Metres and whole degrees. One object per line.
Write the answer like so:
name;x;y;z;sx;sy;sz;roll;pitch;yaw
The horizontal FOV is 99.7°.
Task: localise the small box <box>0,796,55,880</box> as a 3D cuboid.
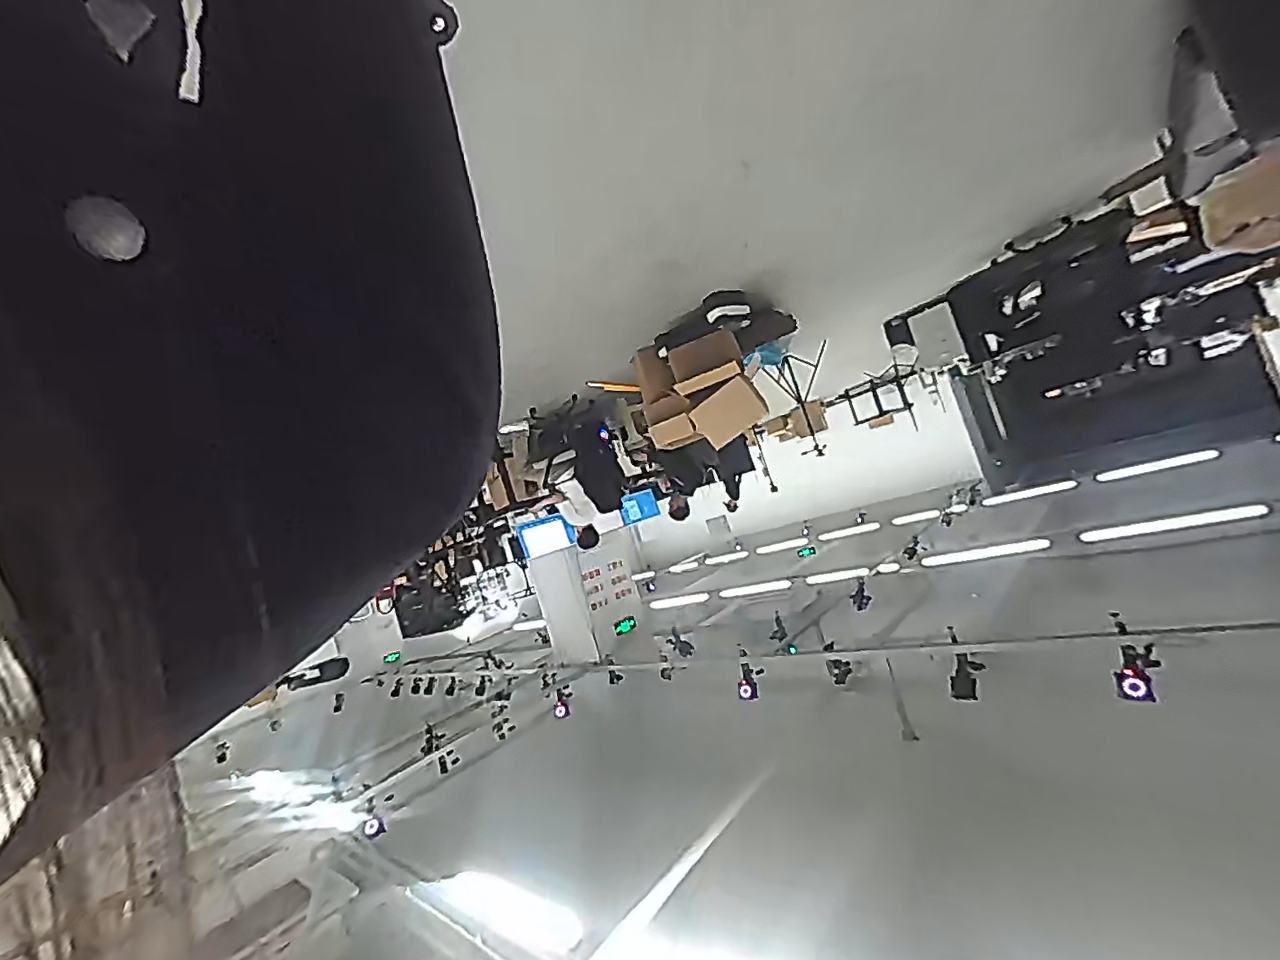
small box;-1.814;1.033;1.540;0.168;0.176;0.179;-15;172;-45
